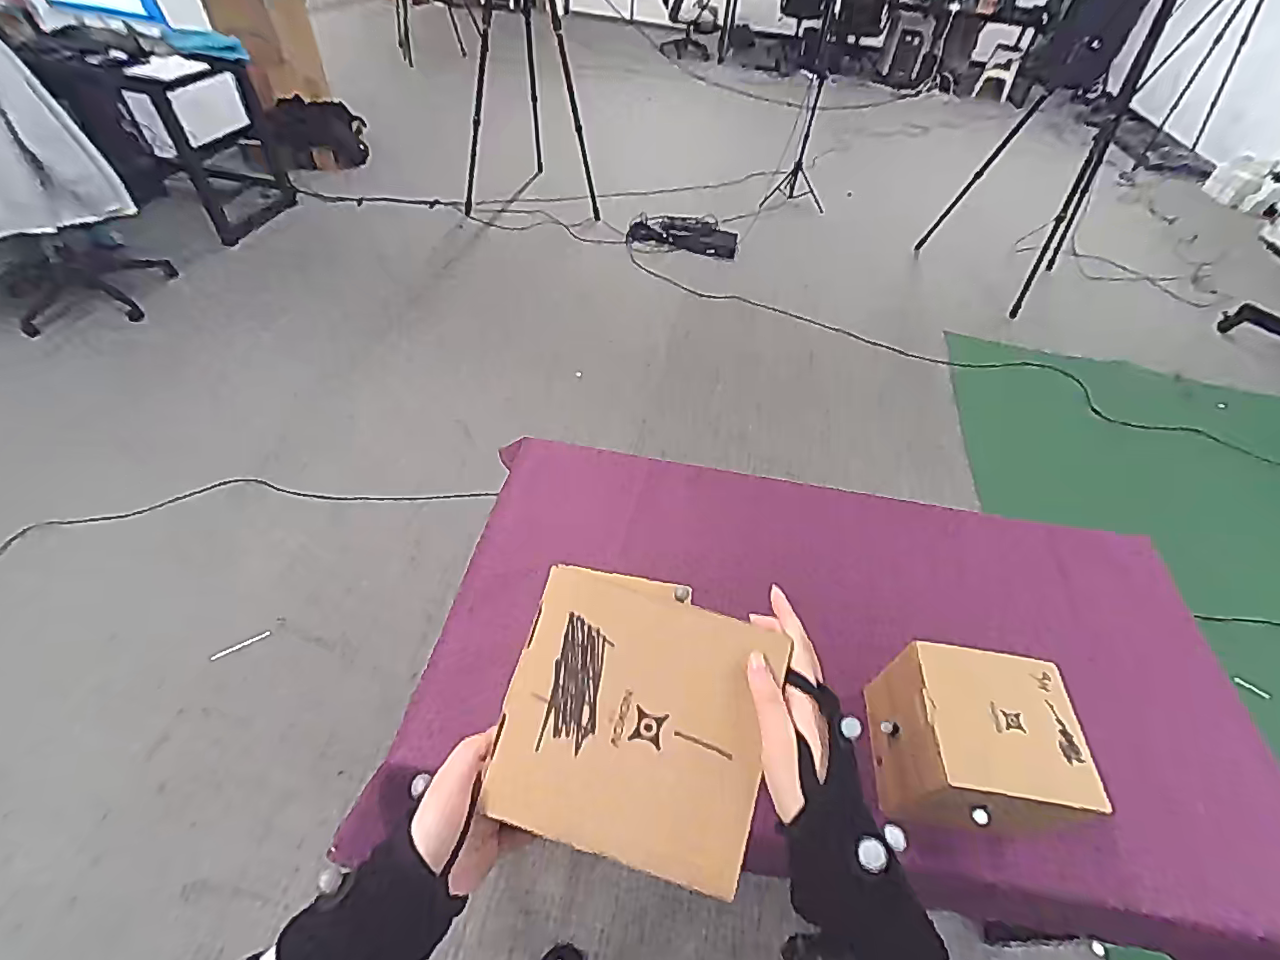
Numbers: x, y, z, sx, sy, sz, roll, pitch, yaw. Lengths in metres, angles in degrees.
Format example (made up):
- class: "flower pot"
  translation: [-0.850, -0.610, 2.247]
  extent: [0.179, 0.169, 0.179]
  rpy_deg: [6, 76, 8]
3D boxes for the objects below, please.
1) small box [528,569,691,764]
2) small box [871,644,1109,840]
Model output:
- class: "small box"
  translation: [-0.034, 0.245, 0.701]
  extent: [0.168, 0.176, 0.179]
  rpy_deg: [10, 48, 3]
- class: "small box"
  translation: [0.405, 0.328, 0.671]
  extent: [0.179, 0.176, 0.168]
  rpy_deg: [9, 48, 3]
